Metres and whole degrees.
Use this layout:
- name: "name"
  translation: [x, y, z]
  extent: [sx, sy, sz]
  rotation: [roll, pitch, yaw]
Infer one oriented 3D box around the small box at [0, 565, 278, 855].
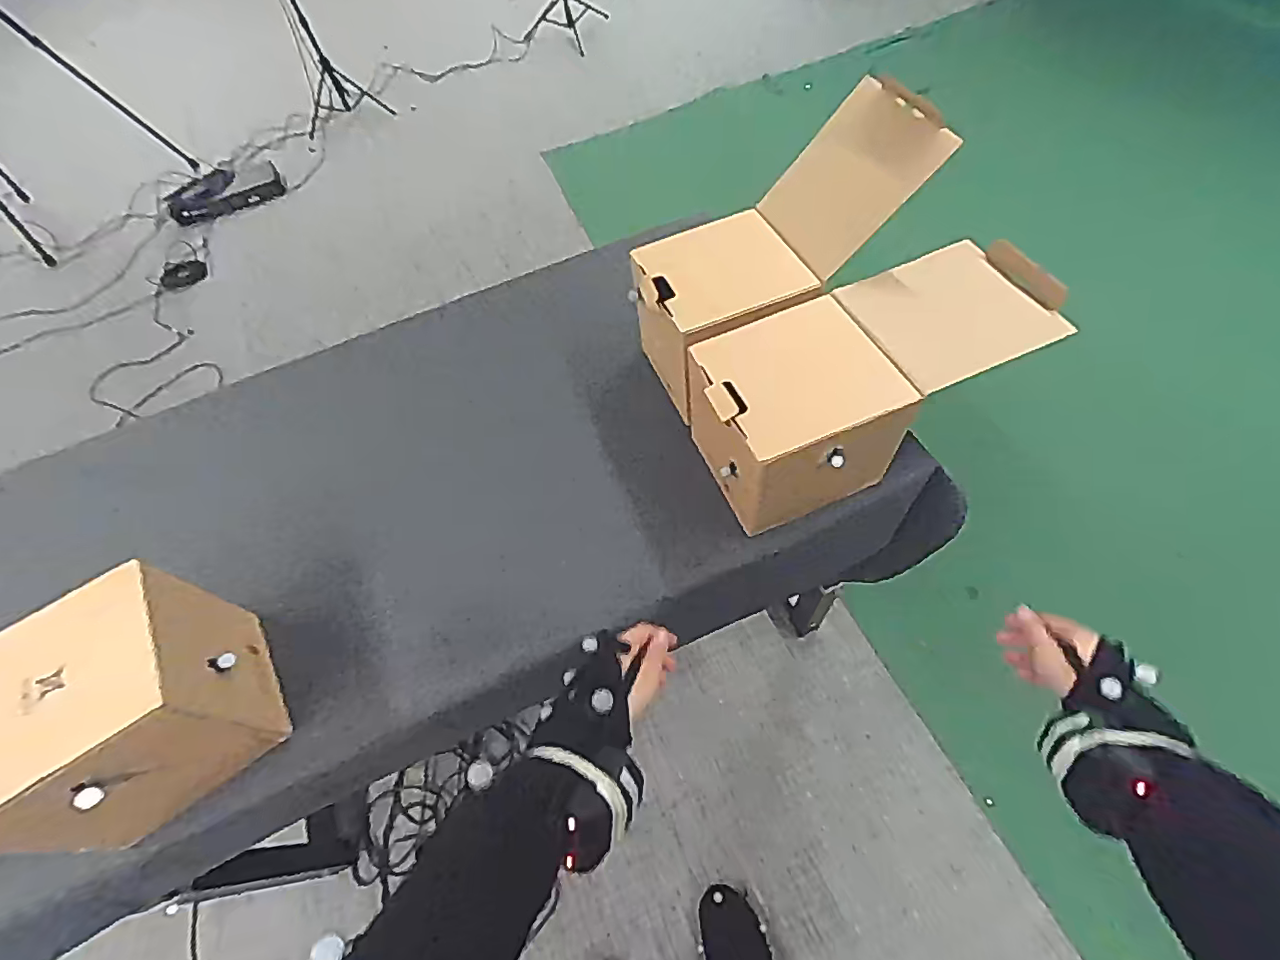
- name: "small box"
  translation: [-0.488, 0.219, 0.519]
  extent: [0.179, 0.176, 0.168]
  rotation: [-34, 60, -13]
